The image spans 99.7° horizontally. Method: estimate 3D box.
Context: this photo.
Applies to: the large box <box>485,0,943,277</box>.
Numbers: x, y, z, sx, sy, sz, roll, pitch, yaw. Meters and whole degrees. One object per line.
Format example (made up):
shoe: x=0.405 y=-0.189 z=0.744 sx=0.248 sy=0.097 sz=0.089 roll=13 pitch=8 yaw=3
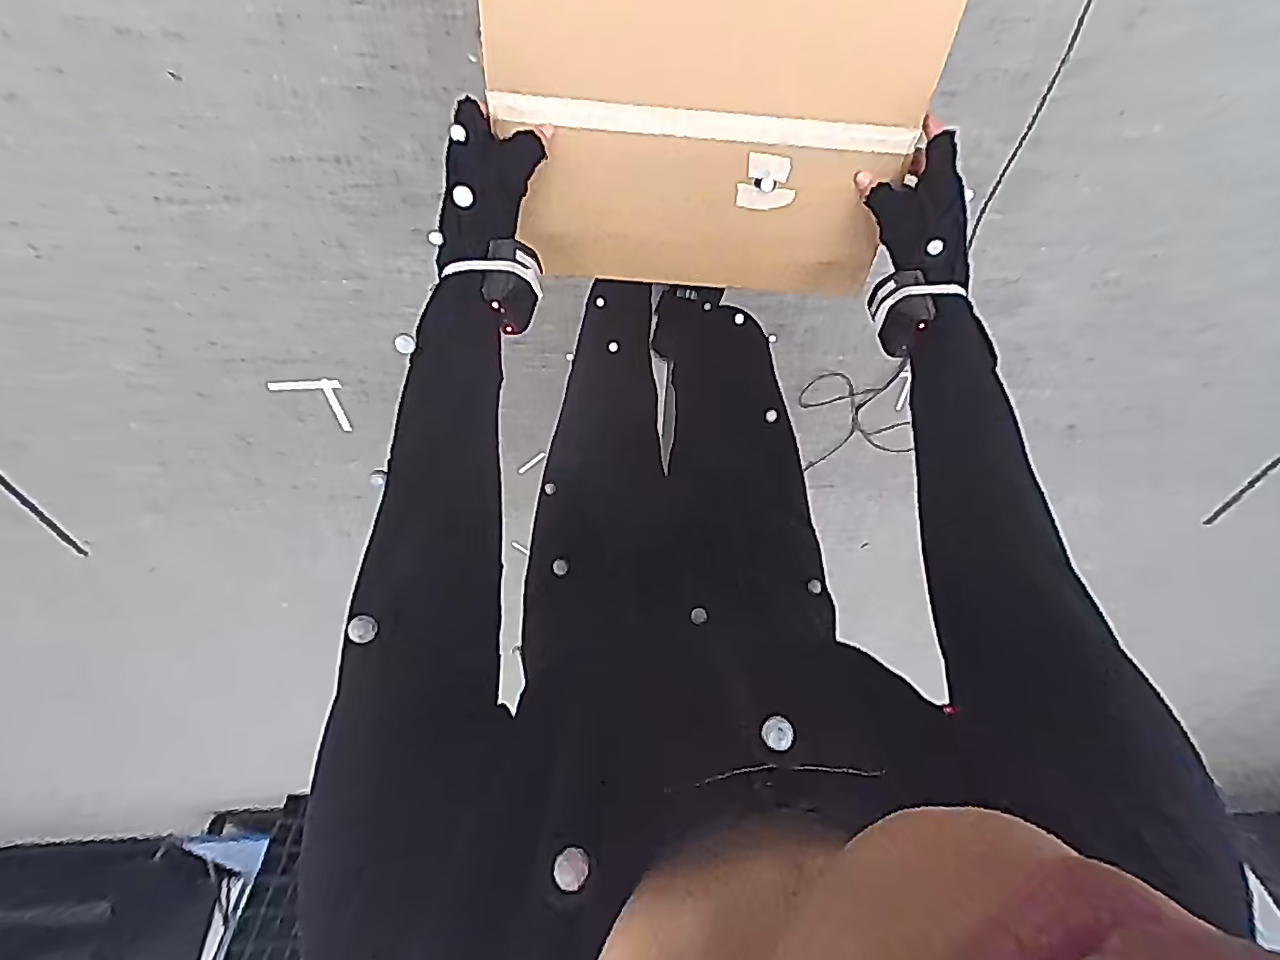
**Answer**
large box: x=0.056 y=-0.455 z=0.631 sx=0.408 sy=0.320 sz=0.320 roll=2 pitch=134 yaw=-4
